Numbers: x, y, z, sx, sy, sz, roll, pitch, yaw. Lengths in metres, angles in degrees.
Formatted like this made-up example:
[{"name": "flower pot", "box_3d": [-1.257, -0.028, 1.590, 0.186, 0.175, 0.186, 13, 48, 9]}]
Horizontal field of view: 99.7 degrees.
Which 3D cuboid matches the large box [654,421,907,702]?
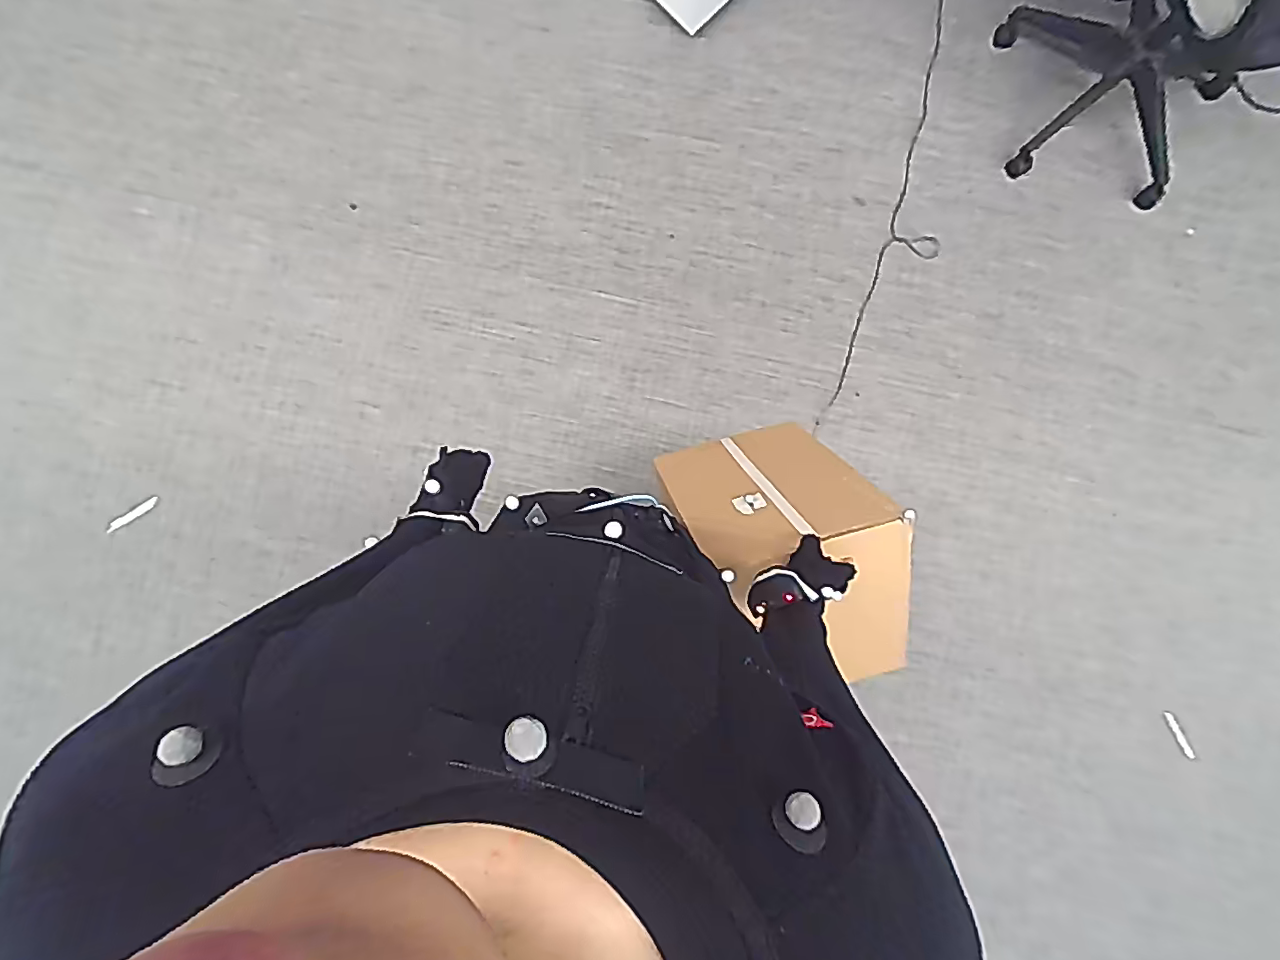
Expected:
[{"name": "large box", "box_3d": [0.239, 0.129, 1.033, 0.320, 0.408, 0.320, -15, 120, -4]}]
